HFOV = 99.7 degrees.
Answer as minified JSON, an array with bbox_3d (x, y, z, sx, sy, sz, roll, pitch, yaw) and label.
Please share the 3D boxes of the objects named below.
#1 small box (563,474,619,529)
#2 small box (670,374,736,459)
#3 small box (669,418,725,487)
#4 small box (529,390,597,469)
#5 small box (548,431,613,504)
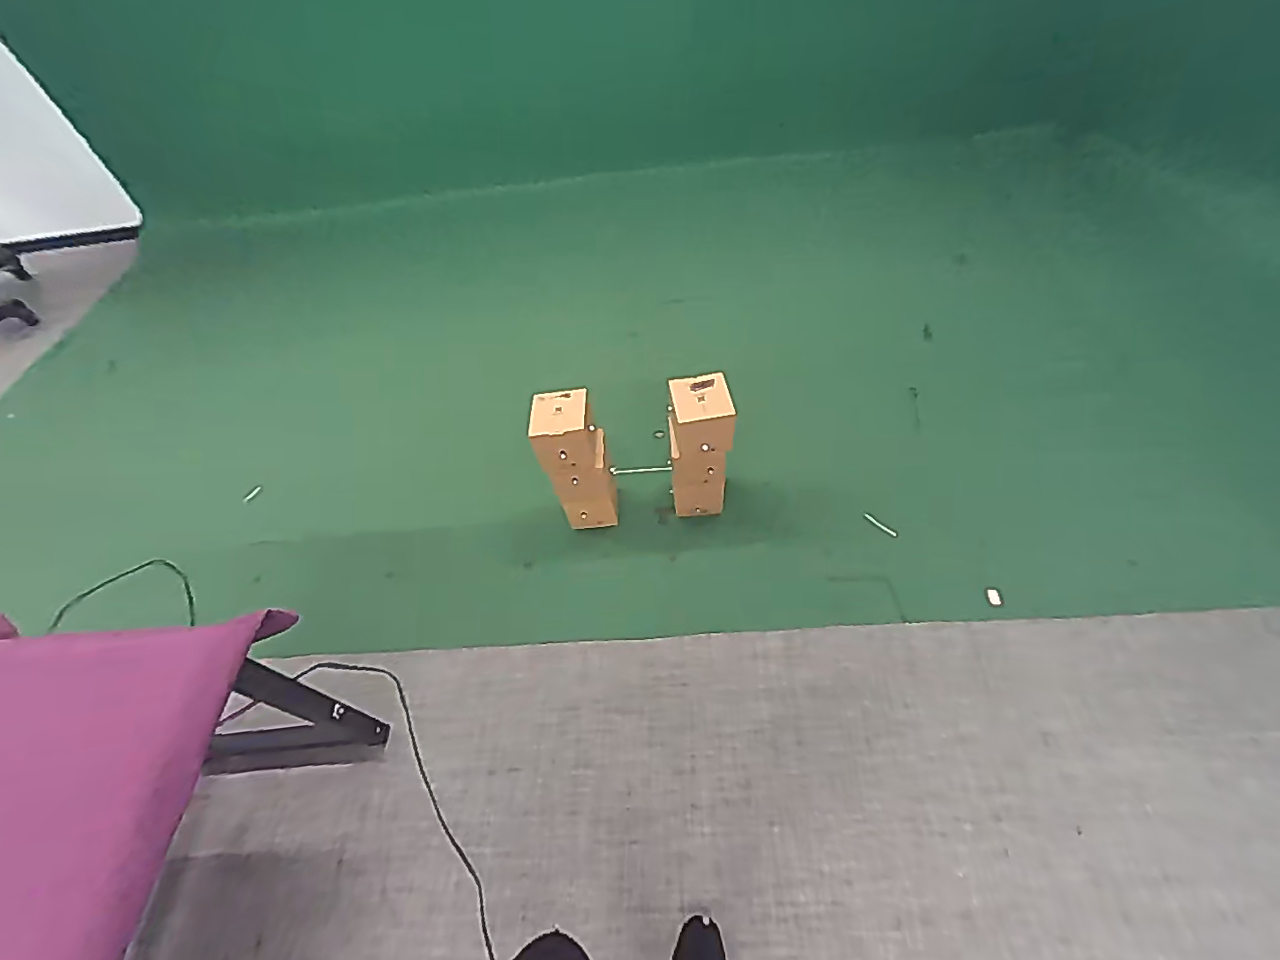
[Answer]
[{"bbox_3d":[-0.167,0.060,1.896,0.168,0.176,0.179,-6,51,4],"label":"small box"},{"bbox_3d":[0.183,-0.188,1.620,0.168,0.176,0.179,-9,54,0],"label":"small box"},{"bbox_3d":[0.185,-0.090,1.751,0.168,0.176,0.179,-5,53,3],"label":"small box"},{"bbox_3d":[-0.228,-0.145,1.645,0.168,0.176,0.179,-6,52,5],"label":"small box"},{"bbox_3d":[-0.189,-0.036,1.764,0.179,0.176,0.168,-6,52,4],"label":"small box"}]
